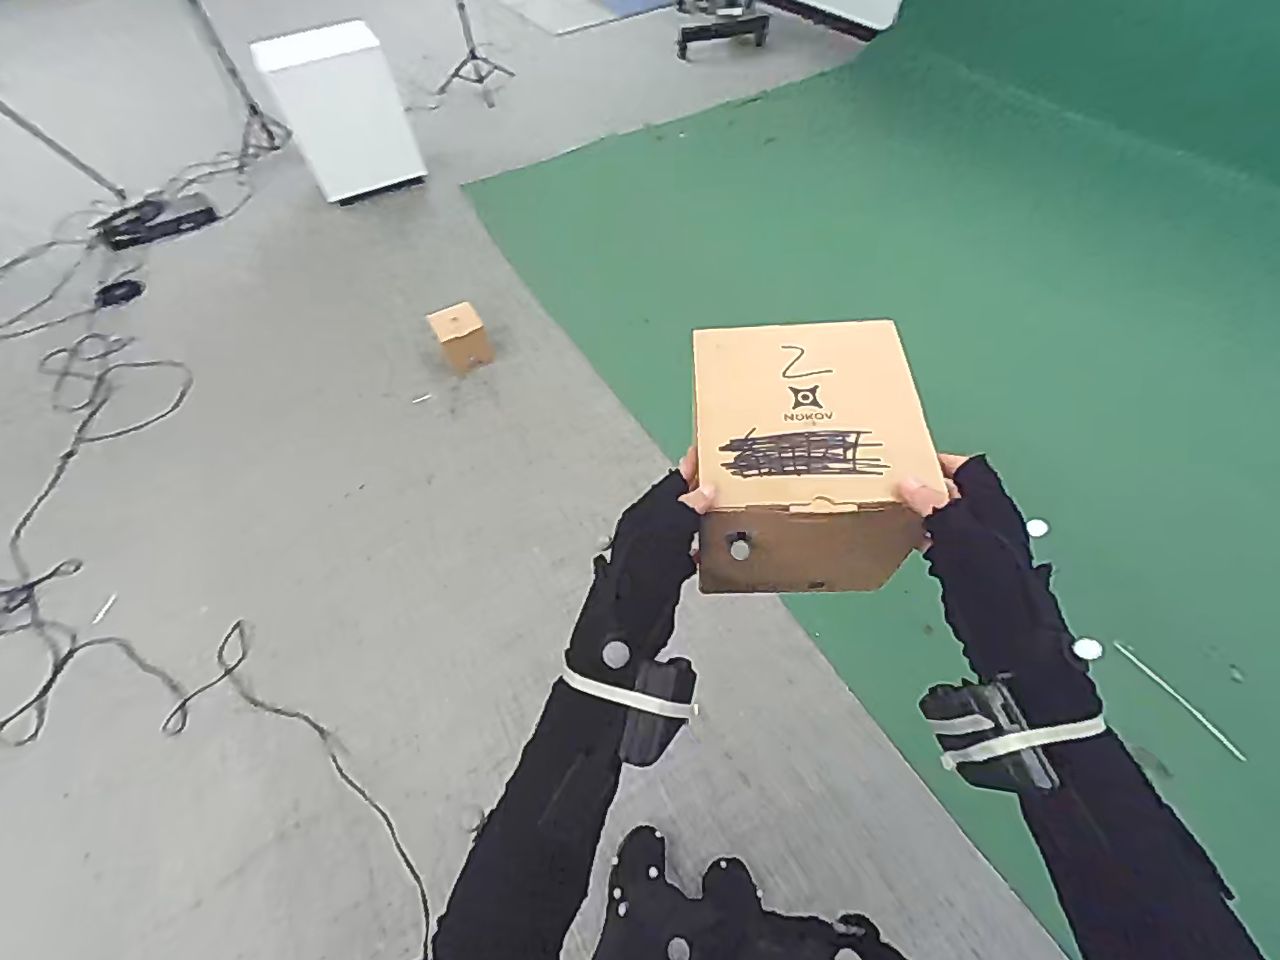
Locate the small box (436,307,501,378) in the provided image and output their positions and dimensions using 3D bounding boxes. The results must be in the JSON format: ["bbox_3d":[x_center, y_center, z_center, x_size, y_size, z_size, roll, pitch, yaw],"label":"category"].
[{"bbox_3d":[-0.657,-0.526,2.081,0.168,0.176,0.179,-26,59,-14],"label":"small box"}]
